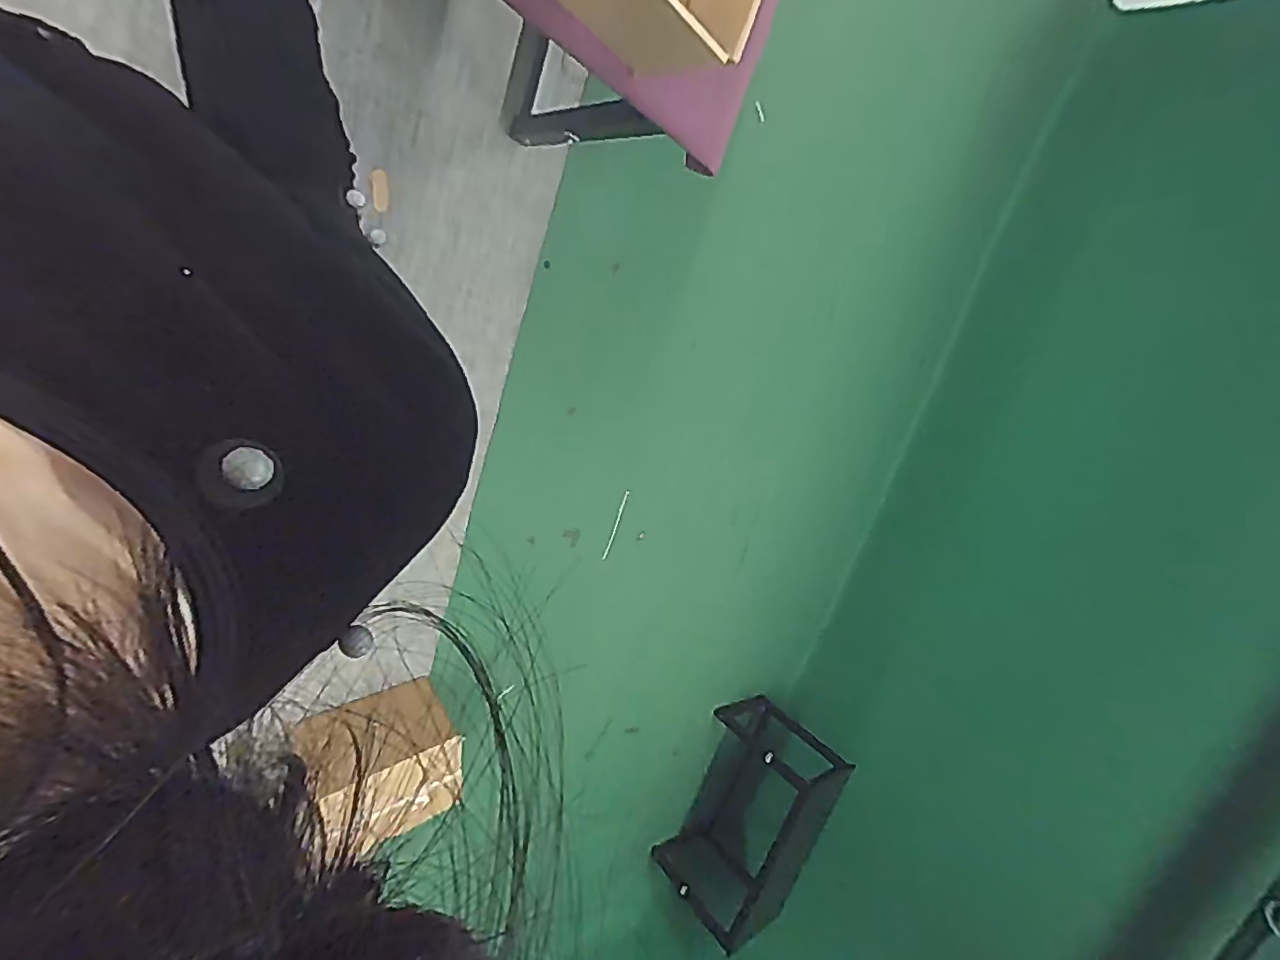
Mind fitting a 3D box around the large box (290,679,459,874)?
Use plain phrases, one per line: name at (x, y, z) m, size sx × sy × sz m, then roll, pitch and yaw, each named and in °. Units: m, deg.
large box at (-0.835, 0.912, 1.722) m, size 0.408 × 0.320 × 0.320 m, roll -12°, pitch 120°, yaw -40°
